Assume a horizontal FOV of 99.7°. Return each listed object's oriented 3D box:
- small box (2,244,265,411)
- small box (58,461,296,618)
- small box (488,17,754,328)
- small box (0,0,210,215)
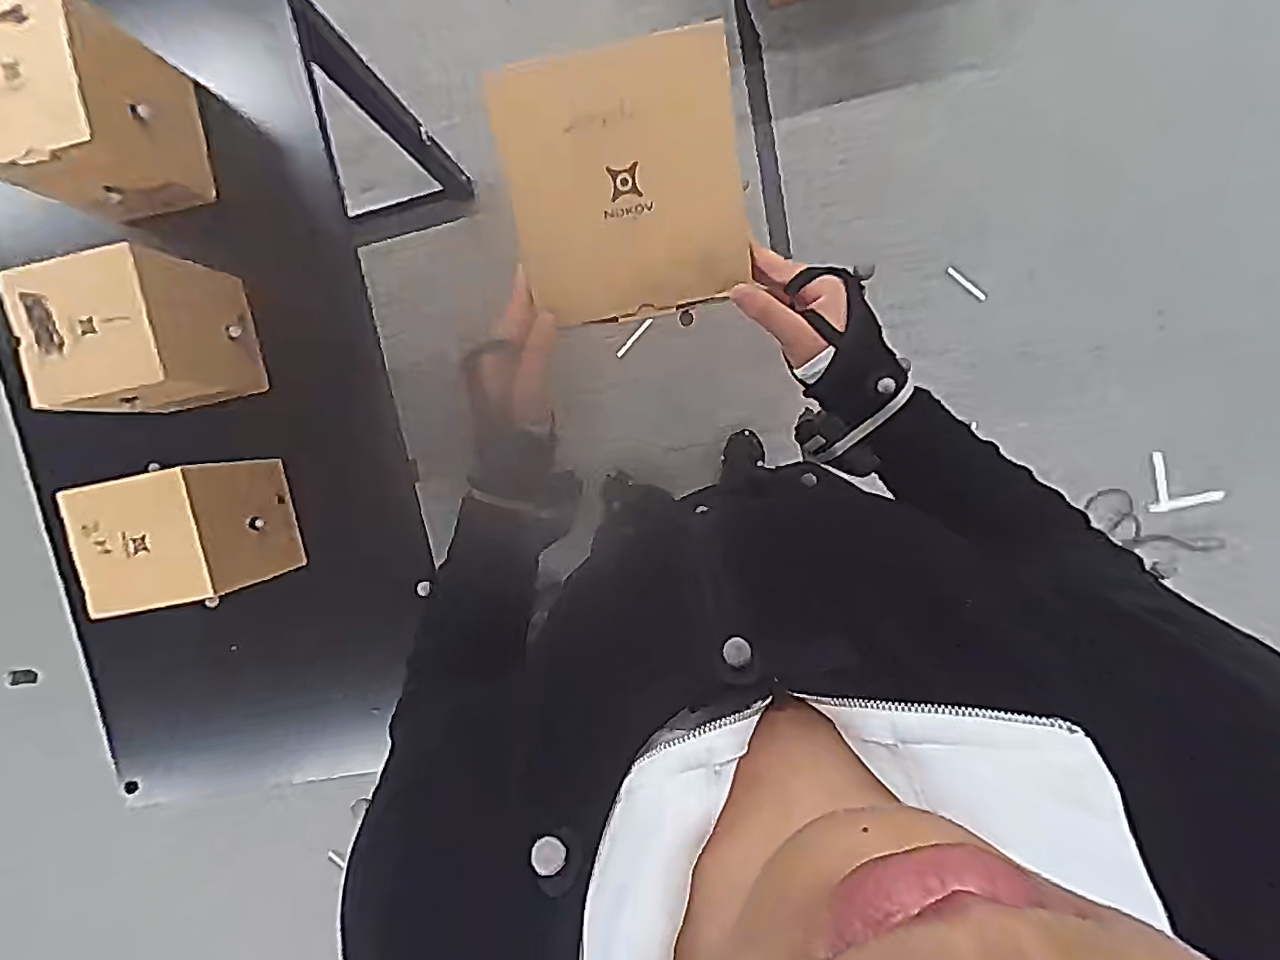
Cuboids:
[{"bbox_3d":[-0.656,-0.189,0.722,0.179,0.176,0.168,-11,95,5],"label":"small box"},{"bbox_3d":[-0.613,0.072,0.745,0.179,0.176,0.168,-11,94,6],"label":"small box"},{"bbox_3d":[-0.009,-0.232,0.457,0.168,0.176,0.179,-10,106,2],"label":"small box"},{"bbox_3d":[-0.708,-0.464,0.698,0.168,0.176,0.179,-8,97,6],"label":"small box"}]
